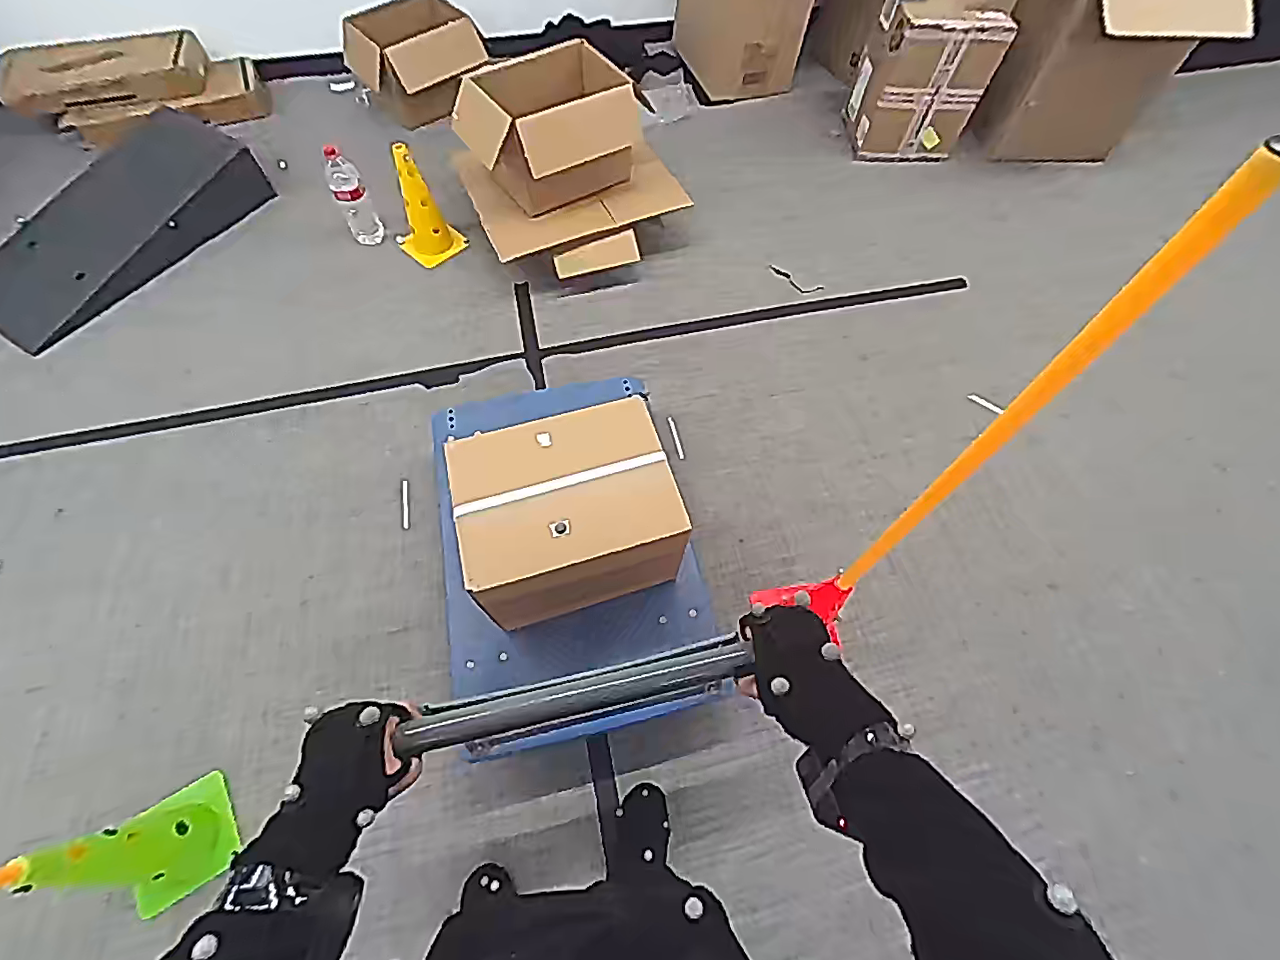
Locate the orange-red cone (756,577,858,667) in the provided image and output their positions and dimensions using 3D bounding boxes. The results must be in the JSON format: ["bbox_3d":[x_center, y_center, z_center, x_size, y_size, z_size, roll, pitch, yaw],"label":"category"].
[{"bbox_3d":[0.407,0.287,1.215,0.199,0.360,0.198,-5,63,-5],"label":"orange-red cone"}]
